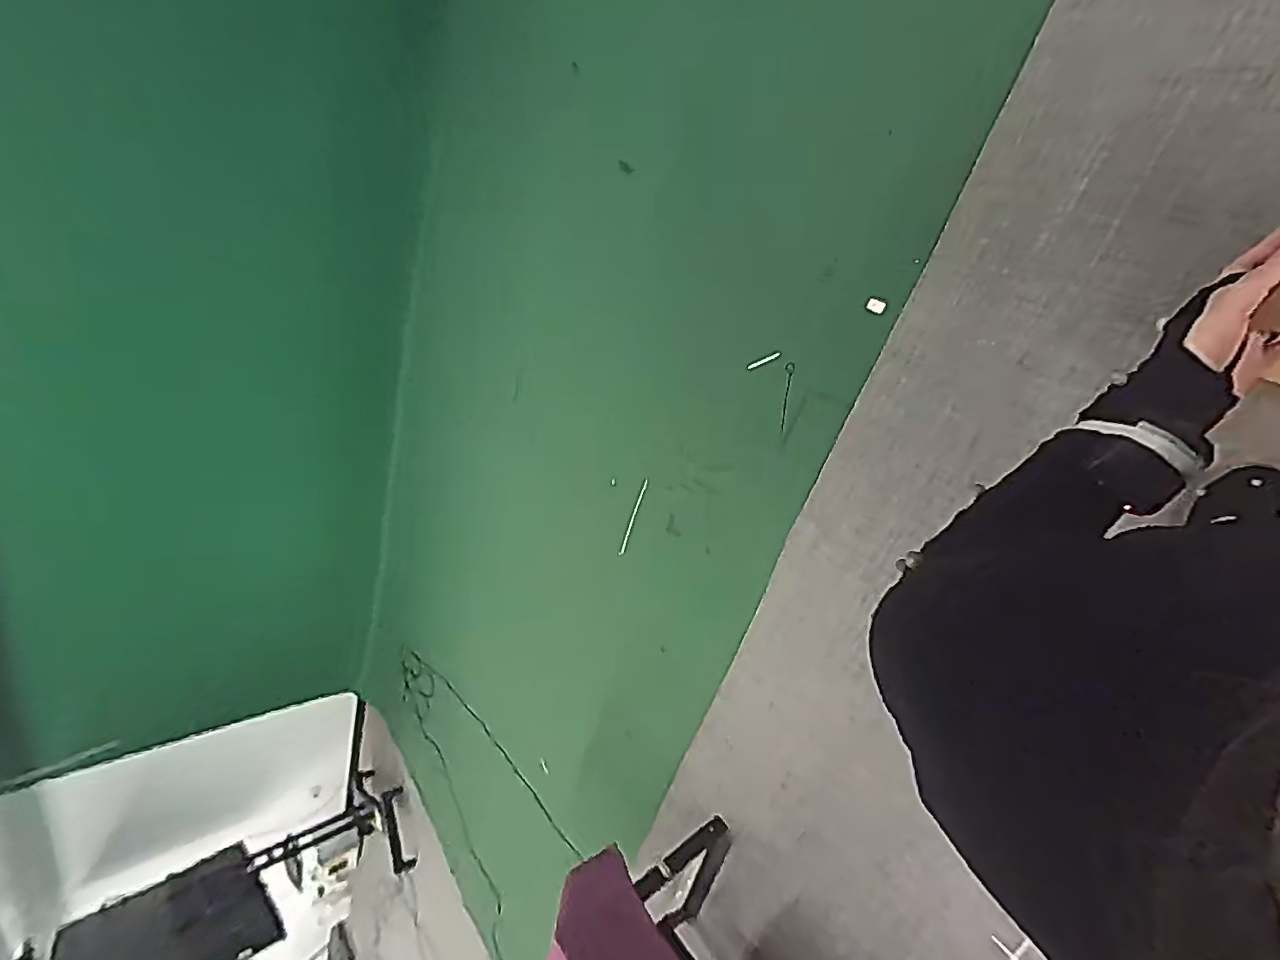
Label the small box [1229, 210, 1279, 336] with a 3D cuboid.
[{"bbox_3d":[0.531,-0.190,0.322,0.168,0.179,0.176,27,71,30],"label":"small box"}]
